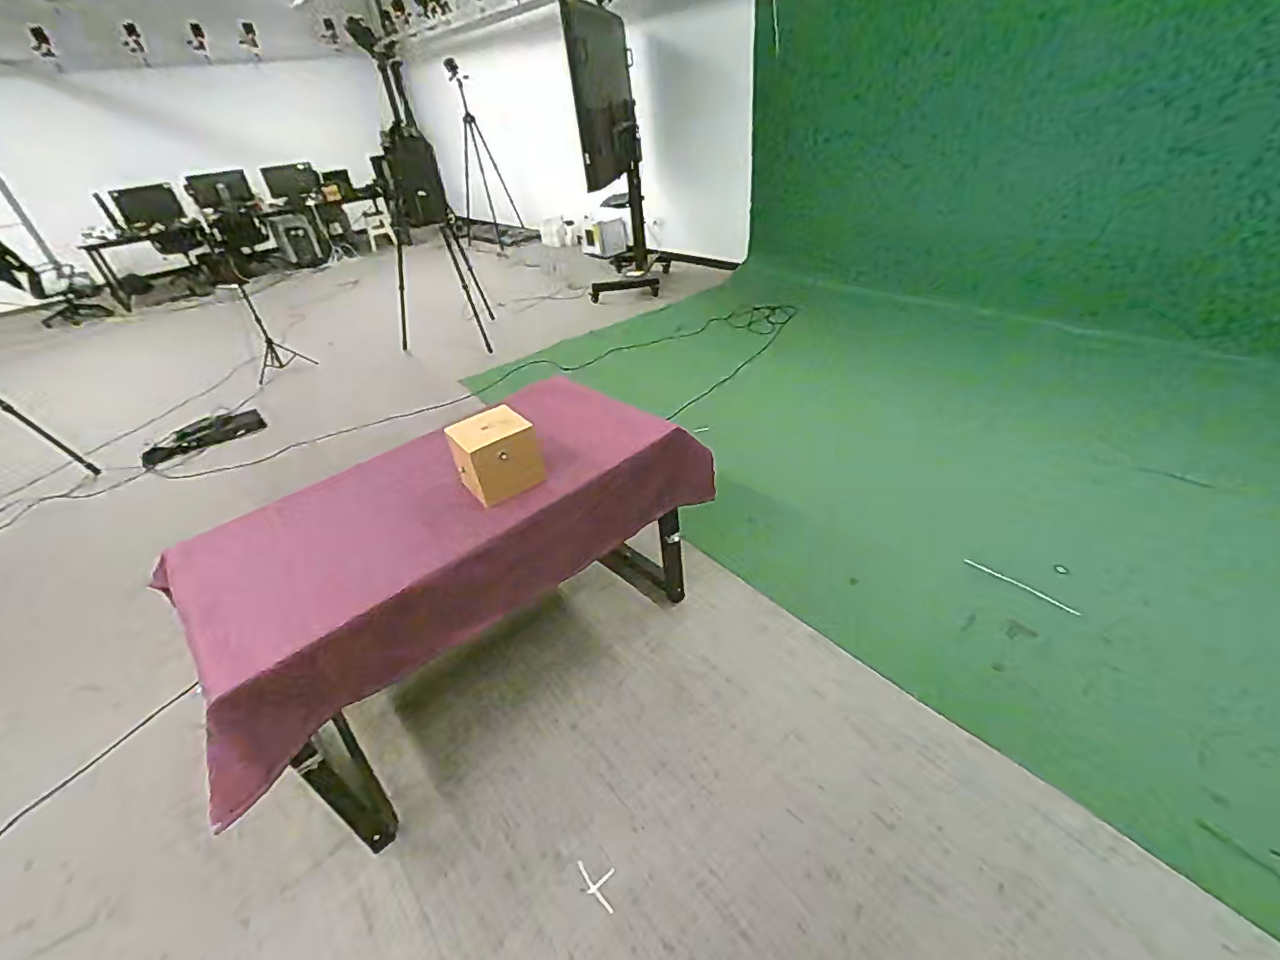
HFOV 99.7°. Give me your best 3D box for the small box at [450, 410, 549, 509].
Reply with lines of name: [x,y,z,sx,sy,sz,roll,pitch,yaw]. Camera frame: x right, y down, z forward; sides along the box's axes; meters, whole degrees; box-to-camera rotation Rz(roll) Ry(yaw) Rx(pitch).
small box: [-0.358,-0.053,1.396,0.179,0.176,0.168,-28,40,-26]
